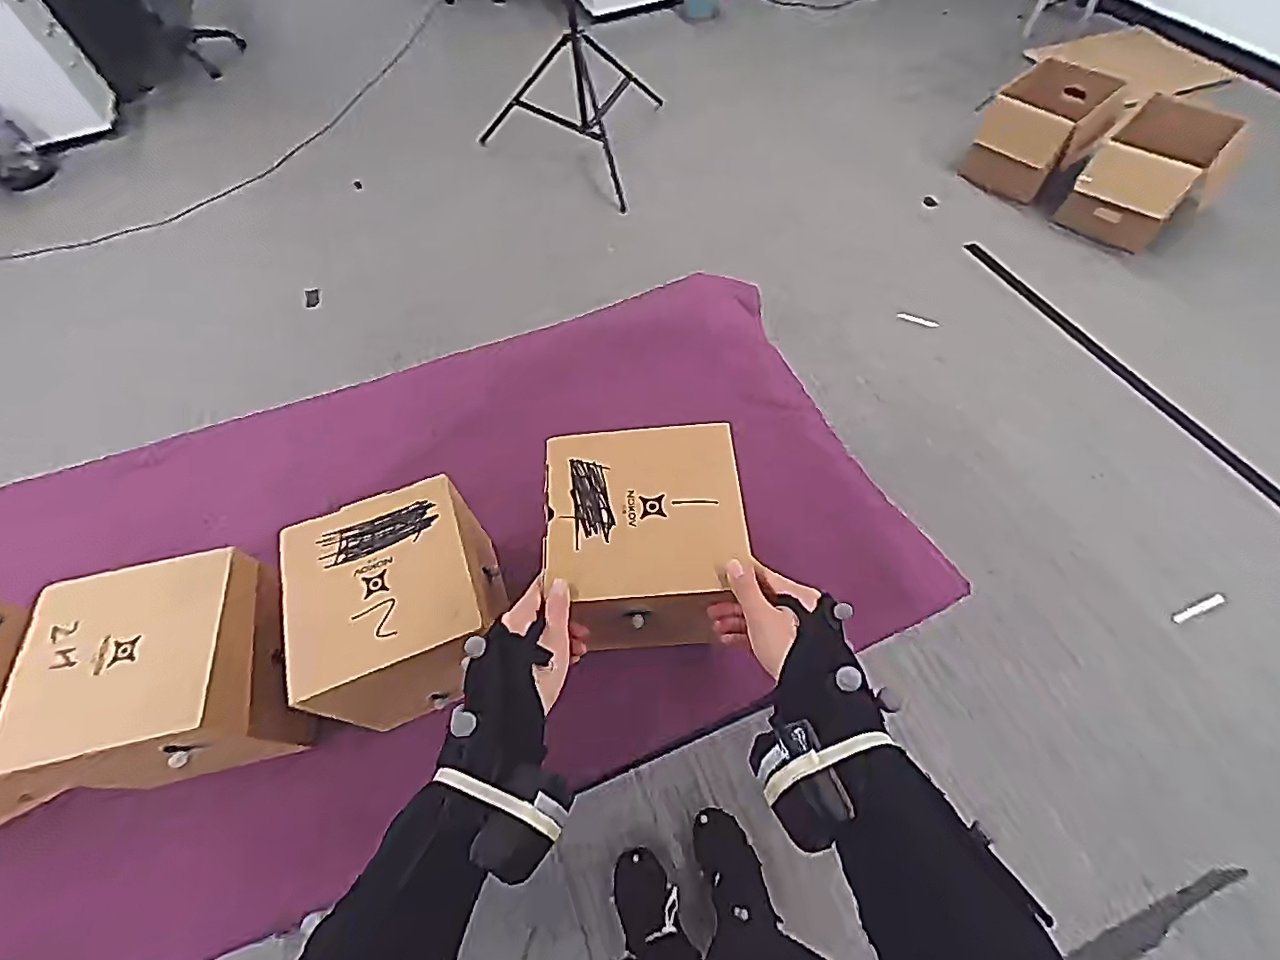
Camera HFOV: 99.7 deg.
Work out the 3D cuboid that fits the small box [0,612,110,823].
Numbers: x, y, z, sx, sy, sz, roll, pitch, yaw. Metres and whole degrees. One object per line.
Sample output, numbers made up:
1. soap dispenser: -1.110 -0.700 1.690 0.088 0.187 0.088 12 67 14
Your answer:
1. small box: -0.674 0.241 0.526 0.168 0.176 0.179 -28 62 -13
